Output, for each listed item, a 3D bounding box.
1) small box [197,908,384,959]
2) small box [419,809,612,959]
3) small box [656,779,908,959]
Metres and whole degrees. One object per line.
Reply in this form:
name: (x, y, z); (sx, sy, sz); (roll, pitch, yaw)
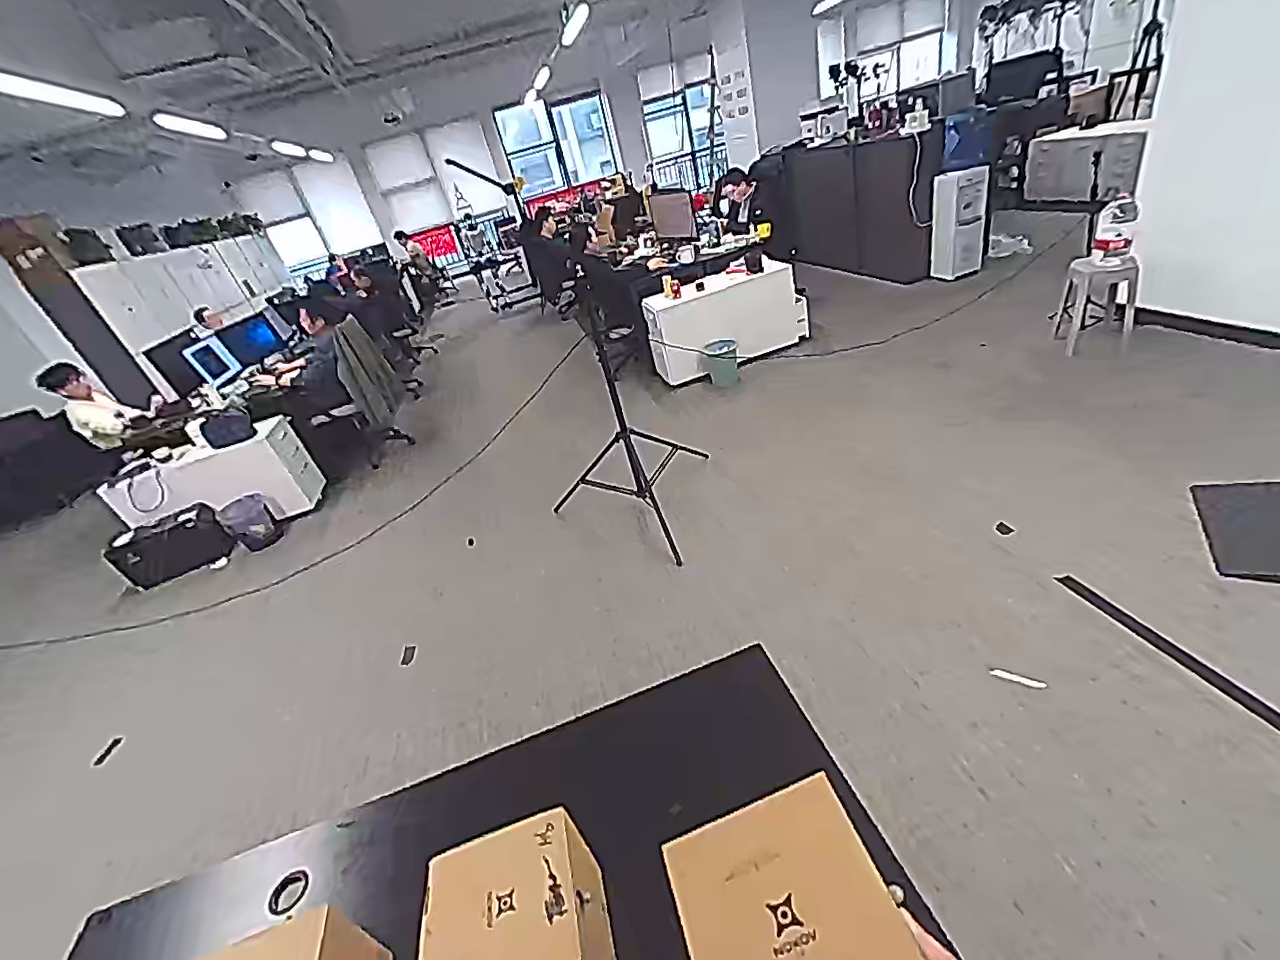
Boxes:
small box: (-0.418, 0.649, 0.621); (0.179, 0.176, 0.168); (-20, 30, -7)
small box: (-0.144, 0.551, 0.655); (0.179, 0.176, 0.168); (-20, 31, -5)
small box: (0.135, 0.414, 0.478); (0.168, 0.176, 0.179); (-24, 35, -2)
